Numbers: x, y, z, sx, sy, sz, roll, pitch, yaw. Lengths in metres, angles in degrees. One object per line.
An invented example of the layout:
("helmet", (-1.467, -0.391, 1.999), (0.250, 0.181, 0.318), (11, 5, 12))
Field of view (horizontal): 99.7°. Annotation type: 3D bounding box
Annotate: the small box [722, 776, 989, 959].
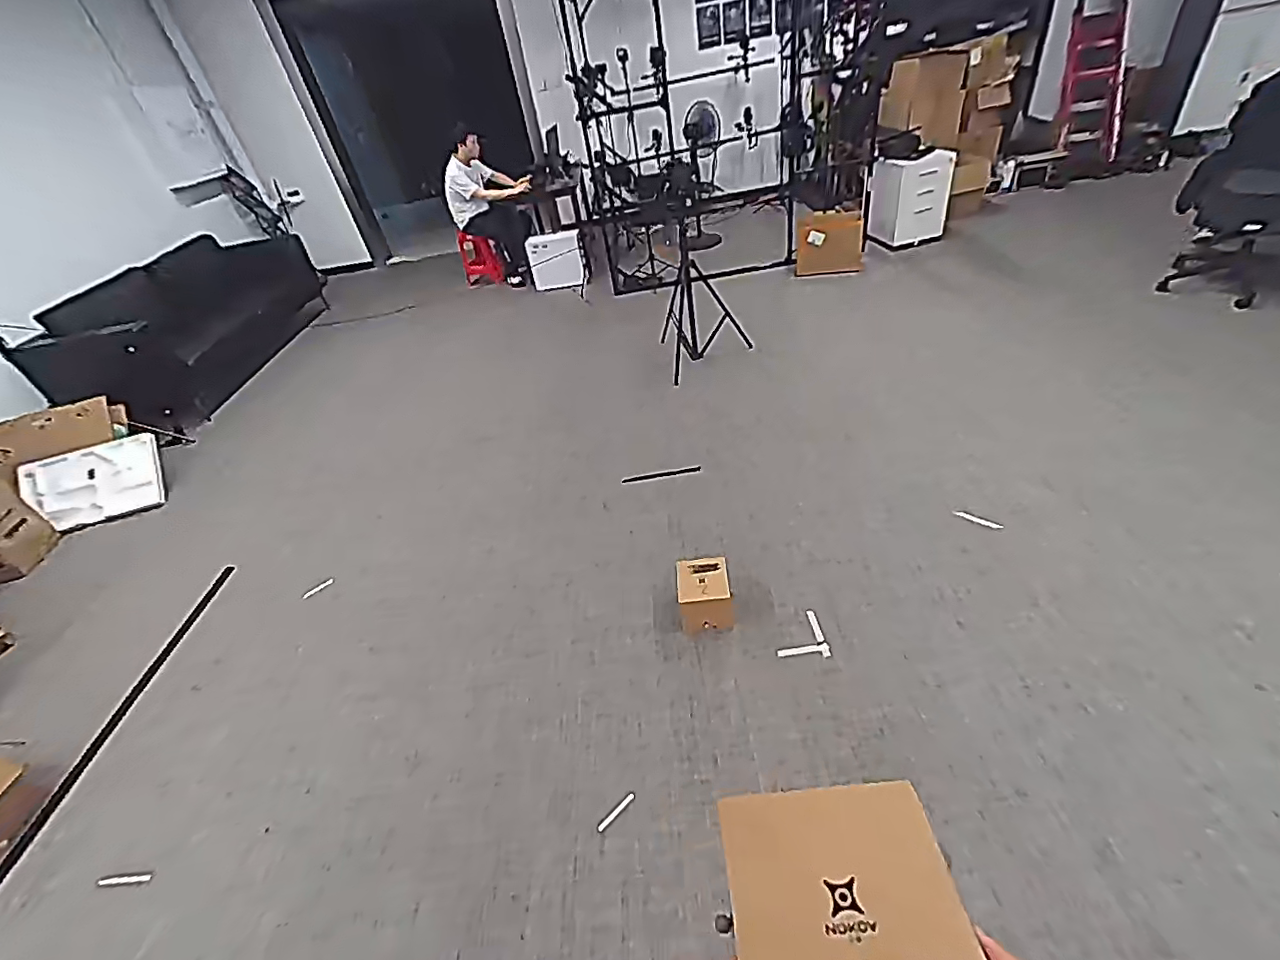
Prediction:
("small box", (0.162, 0.373, 0.434), (0.168, 0.176, 0.179), (-9, 33, 6))
